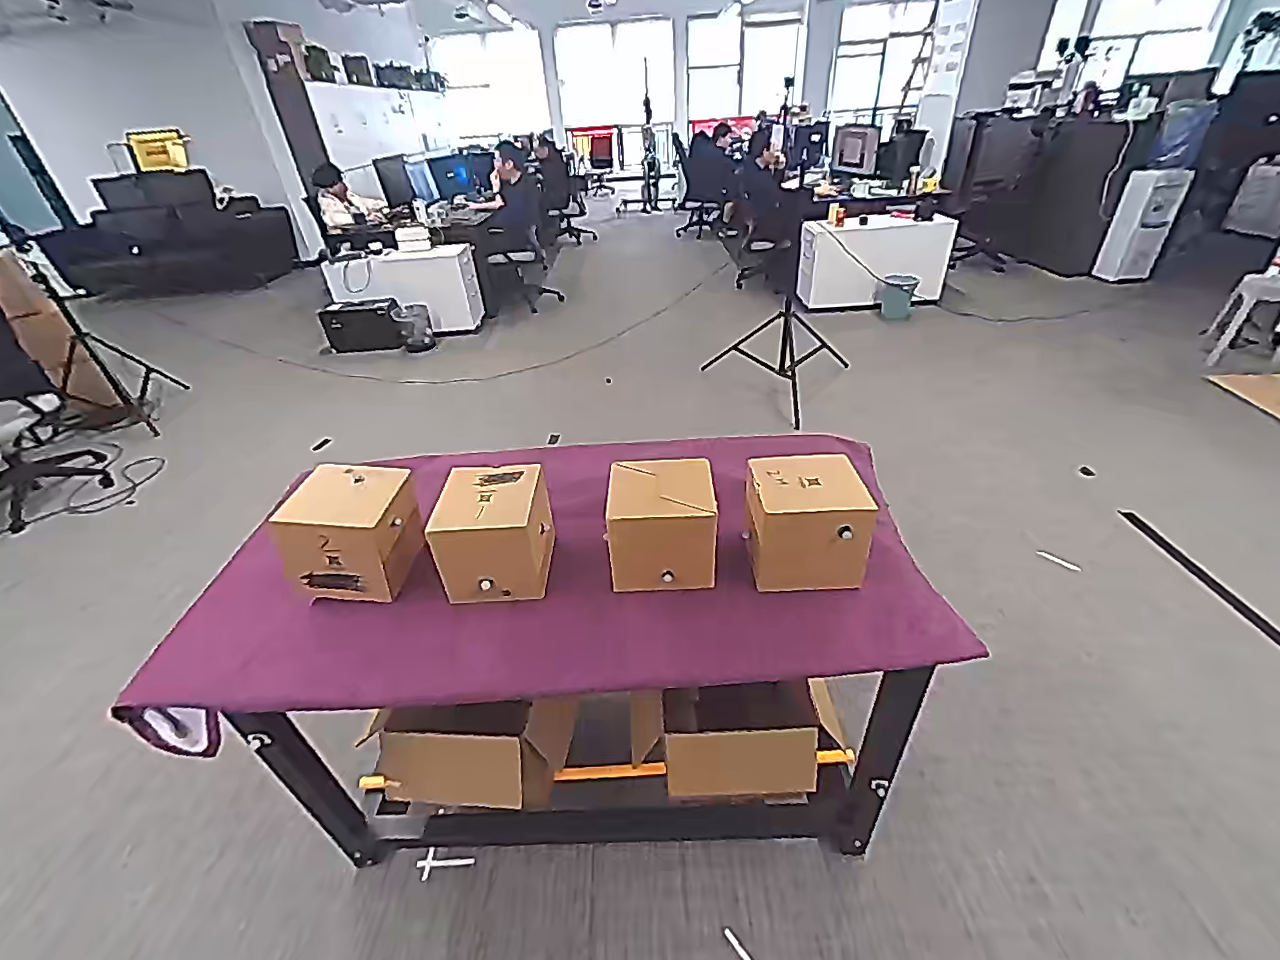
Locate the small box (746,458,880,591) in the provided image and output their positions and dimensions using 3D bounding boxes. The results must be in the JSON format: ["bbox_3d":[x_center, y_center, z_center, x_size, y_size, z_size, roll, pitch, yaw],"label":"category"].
[{"bbox_3d":[0.287,0.078,0.938,0.179,0.176,0.168,-3,32,2],"label":"small box"}]

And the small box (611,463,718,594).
[{"bbox_3d":[0.042,0.082,0.957,0.179,0.176,0.168,-3,33,3],"label":"small box"}]

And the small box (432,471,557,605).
[{"bbox_3d":[-0.247,0.101,0.966,0.168,0.176,0.179,-3,35,1],"label":"small box"}]
